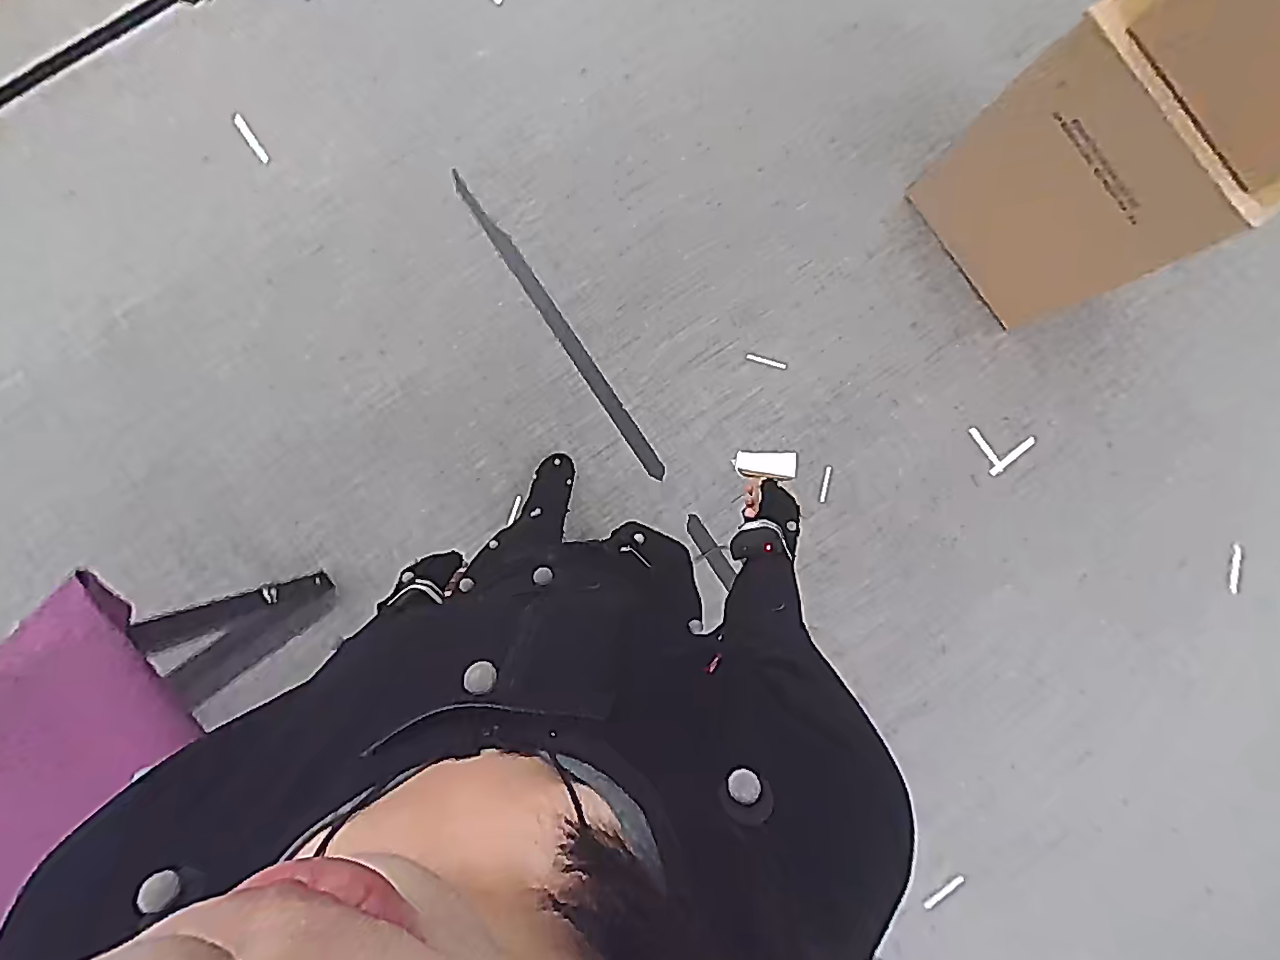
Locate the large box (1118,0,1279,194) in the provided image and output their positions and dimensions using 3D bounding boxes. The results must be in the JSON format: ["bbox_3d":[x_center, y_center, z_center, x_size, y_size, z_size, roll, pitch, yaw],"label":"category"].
[{"bbox_3d":[1.153,-0.796,0.900,0.320,0.320,0.408,-38,91,-4],"label":"large box"}]
